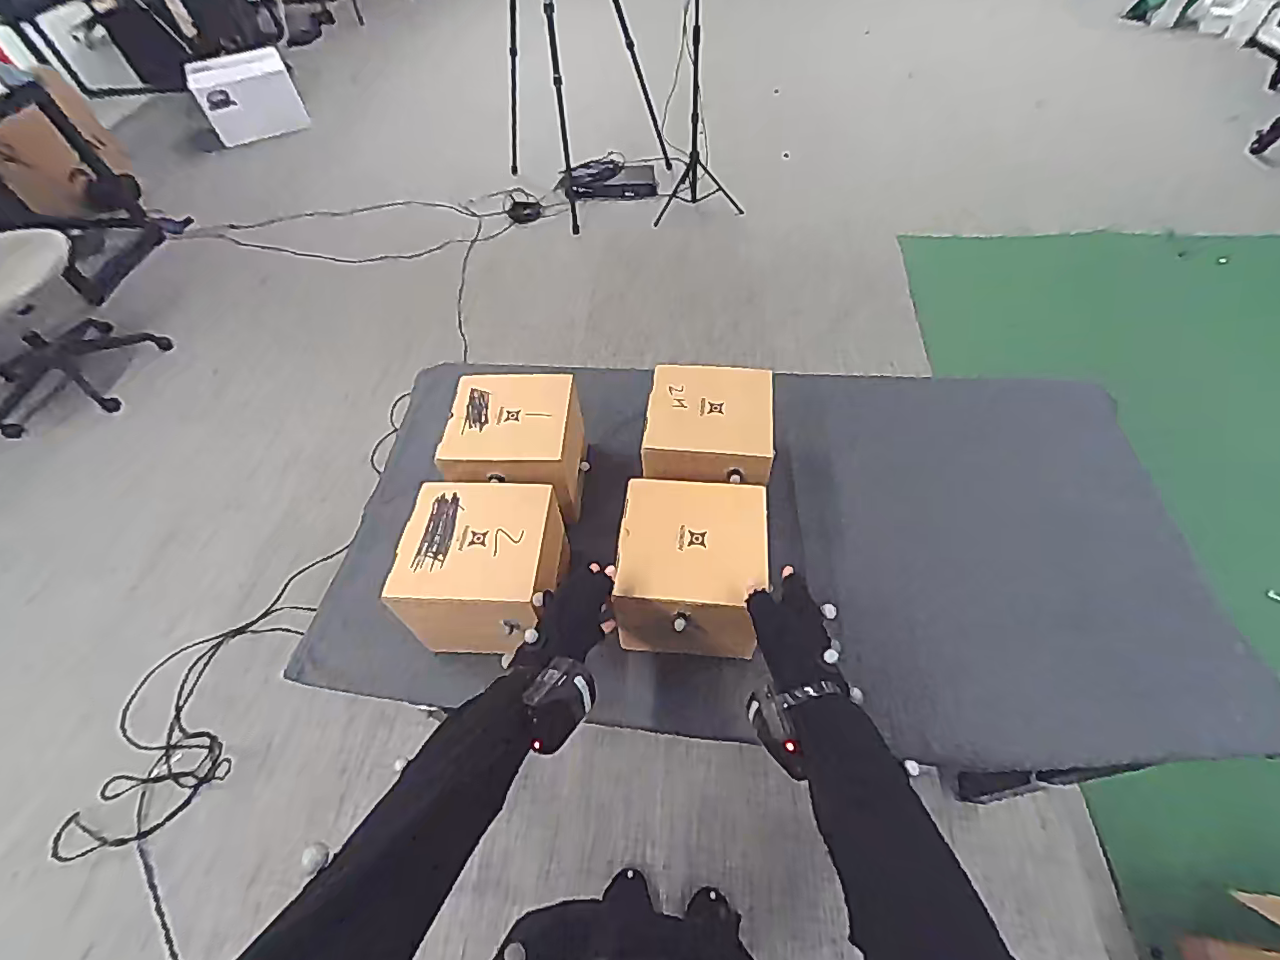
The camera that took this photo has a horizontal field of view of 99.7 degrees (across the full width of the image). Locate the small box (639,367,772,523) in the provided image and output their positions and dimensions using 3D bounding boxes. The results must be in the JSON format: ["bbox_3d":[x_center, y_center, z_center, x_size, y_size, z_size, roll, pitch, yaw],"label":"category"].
[{"bbox_3d":[0.099,-0.048,0.821,0.179,0.176,0.168,5,54,7],"label":"small box"}]
